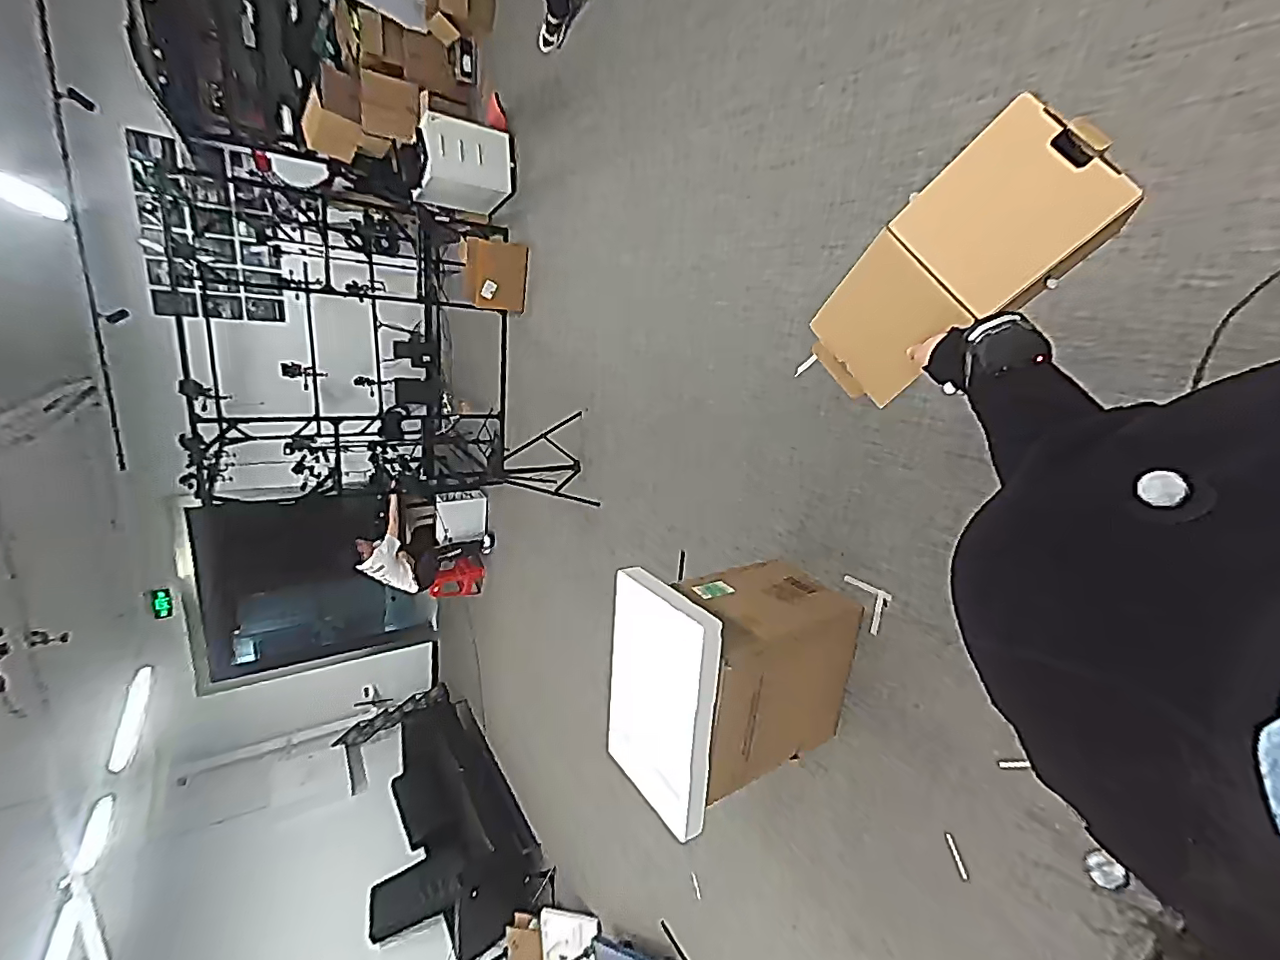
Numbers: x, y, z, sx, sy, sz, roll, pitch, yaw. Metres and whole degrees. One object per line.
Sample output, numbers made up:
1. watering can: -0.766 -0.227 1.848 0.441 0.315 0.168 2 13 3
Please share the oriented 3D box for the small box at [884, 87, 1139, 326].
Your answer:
1. small box: 0.433 -0.304 0.649 0.179 0.176 0.168 -44 74 32
